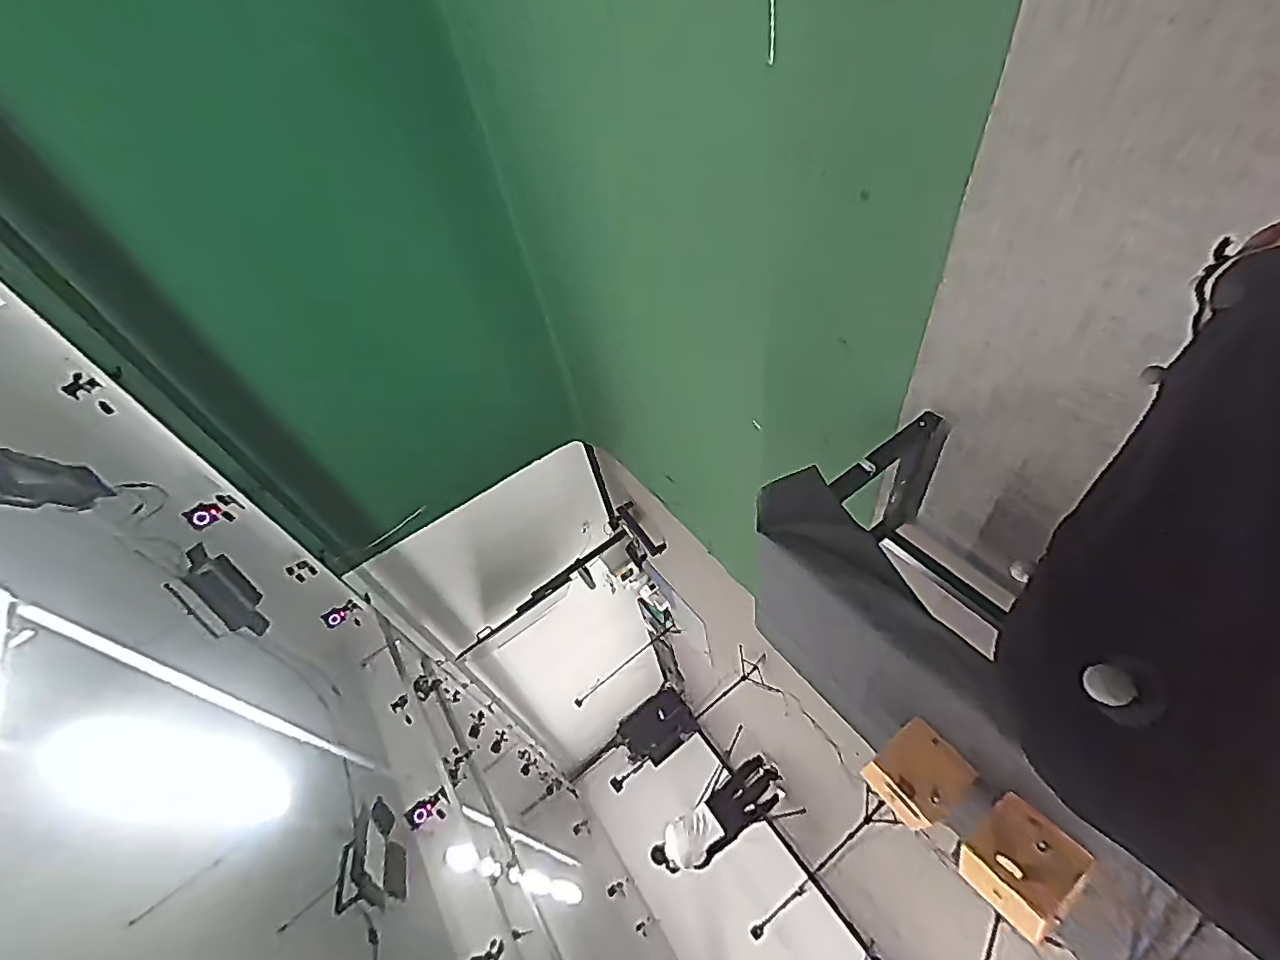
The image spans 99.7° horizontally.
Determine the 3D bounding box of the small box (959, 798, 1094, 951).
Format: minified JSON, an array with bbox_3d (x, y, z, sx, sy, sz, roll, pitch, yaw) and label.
[{"bbox_3d":[0.798,0.814,1.125,0.168,0.176,0.179,36,153,51],"label":"small box"}]
